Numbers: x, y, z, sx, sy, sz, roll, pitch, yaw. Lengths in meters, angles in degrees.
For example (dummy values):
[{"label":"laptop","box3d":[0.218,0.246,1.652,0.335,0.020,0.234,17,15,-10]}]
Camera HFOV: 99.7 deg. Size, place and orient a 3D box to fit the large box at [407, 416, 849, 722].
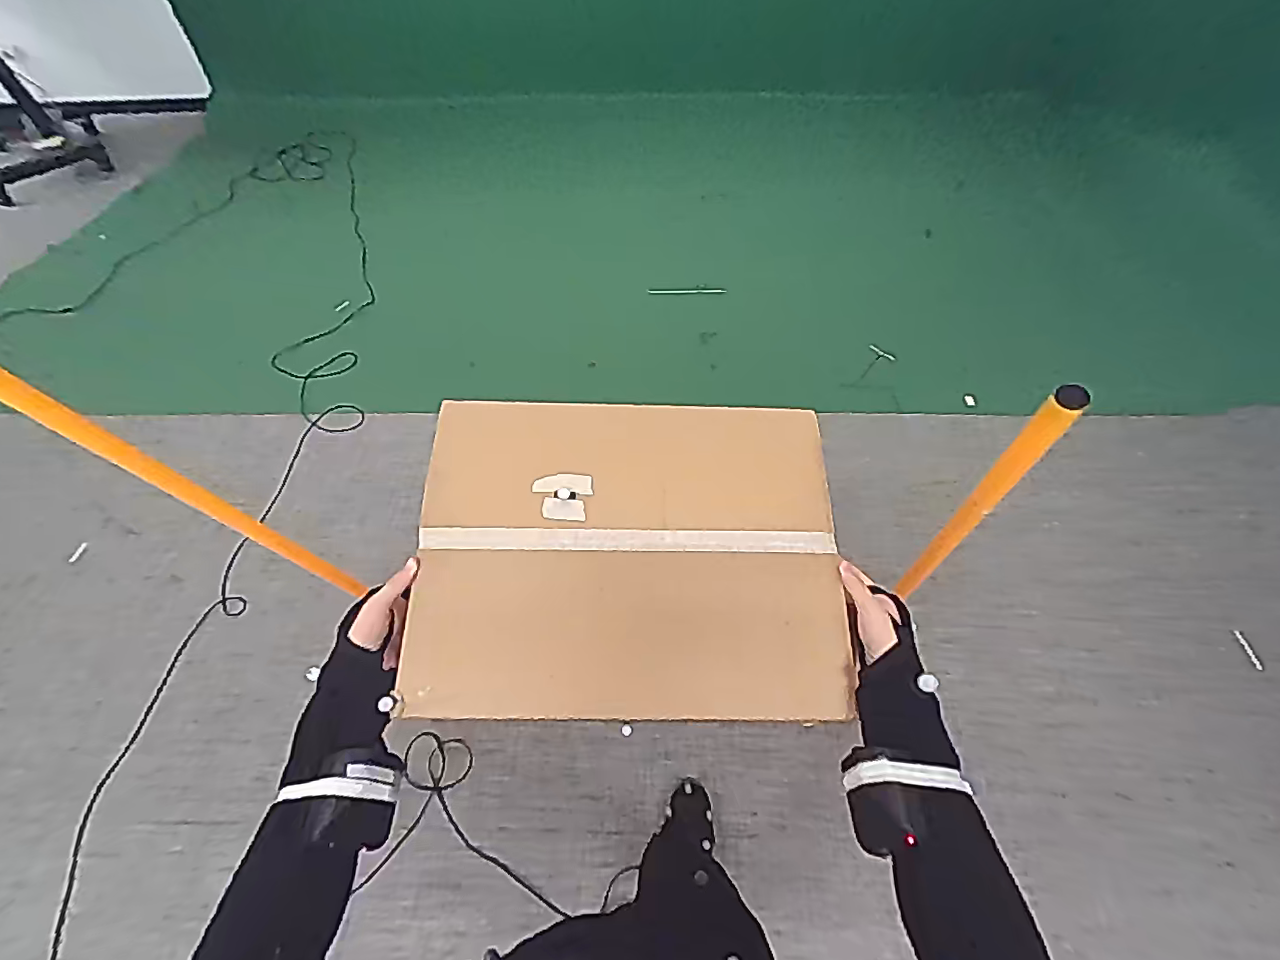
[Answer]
[{"label":"large box","box3d":[-0.011,0.130,0.676,0.408,0.320,0.320,0,65,-1]}]
